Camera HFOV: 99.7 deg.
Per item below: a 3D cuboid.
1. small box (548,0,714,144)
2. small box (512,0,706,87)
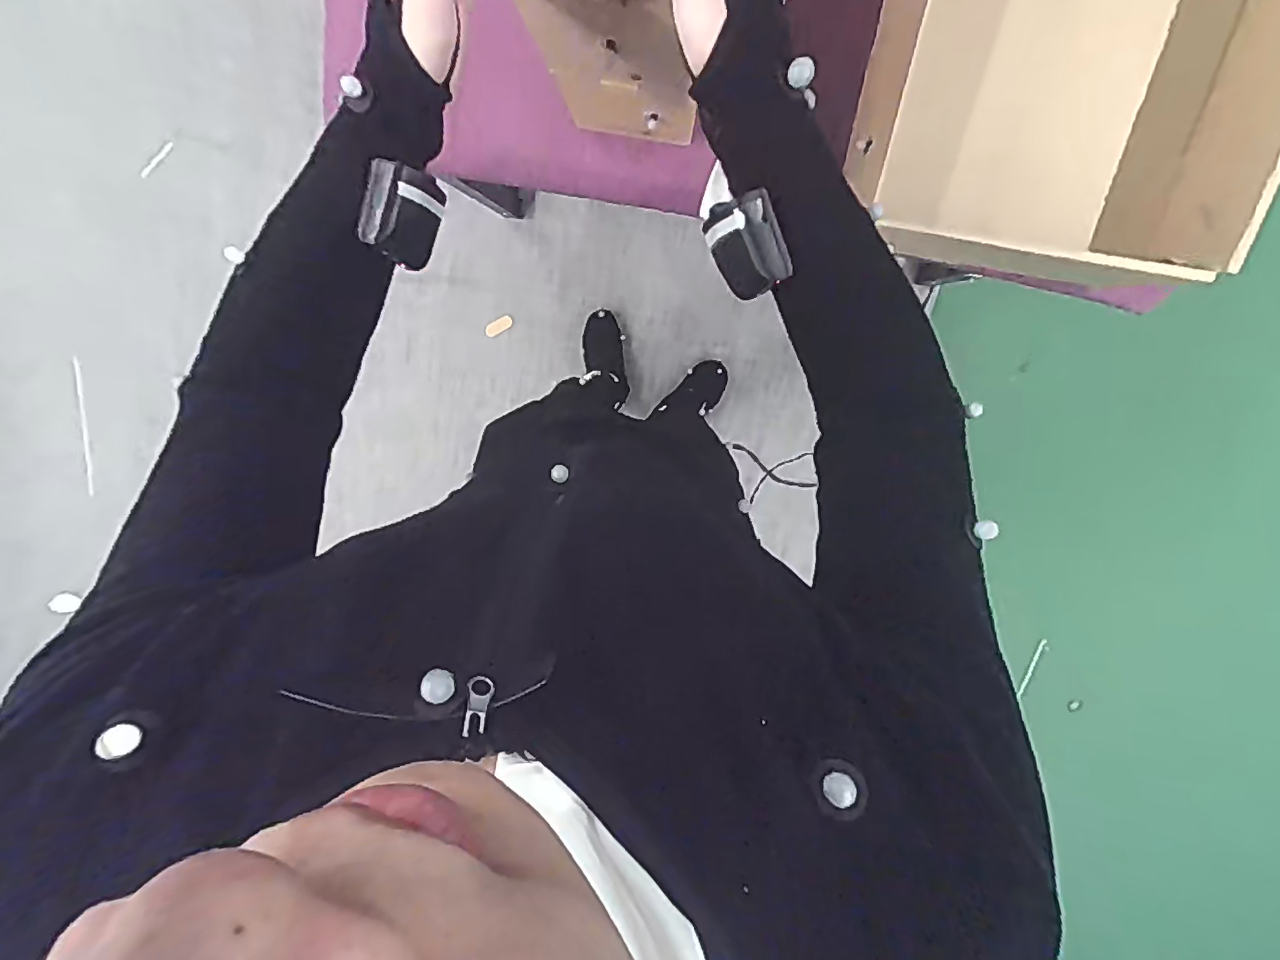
[{"bbox_3d":[-0.003,-0.545,0.665,0.168,0.176,0.179,11,104,1],"label":"small box"},{"bbox_3d":[-0.016,-0.507,0.506,0.168,0.176,0.179,11,106,1],"label":"small box"}]
